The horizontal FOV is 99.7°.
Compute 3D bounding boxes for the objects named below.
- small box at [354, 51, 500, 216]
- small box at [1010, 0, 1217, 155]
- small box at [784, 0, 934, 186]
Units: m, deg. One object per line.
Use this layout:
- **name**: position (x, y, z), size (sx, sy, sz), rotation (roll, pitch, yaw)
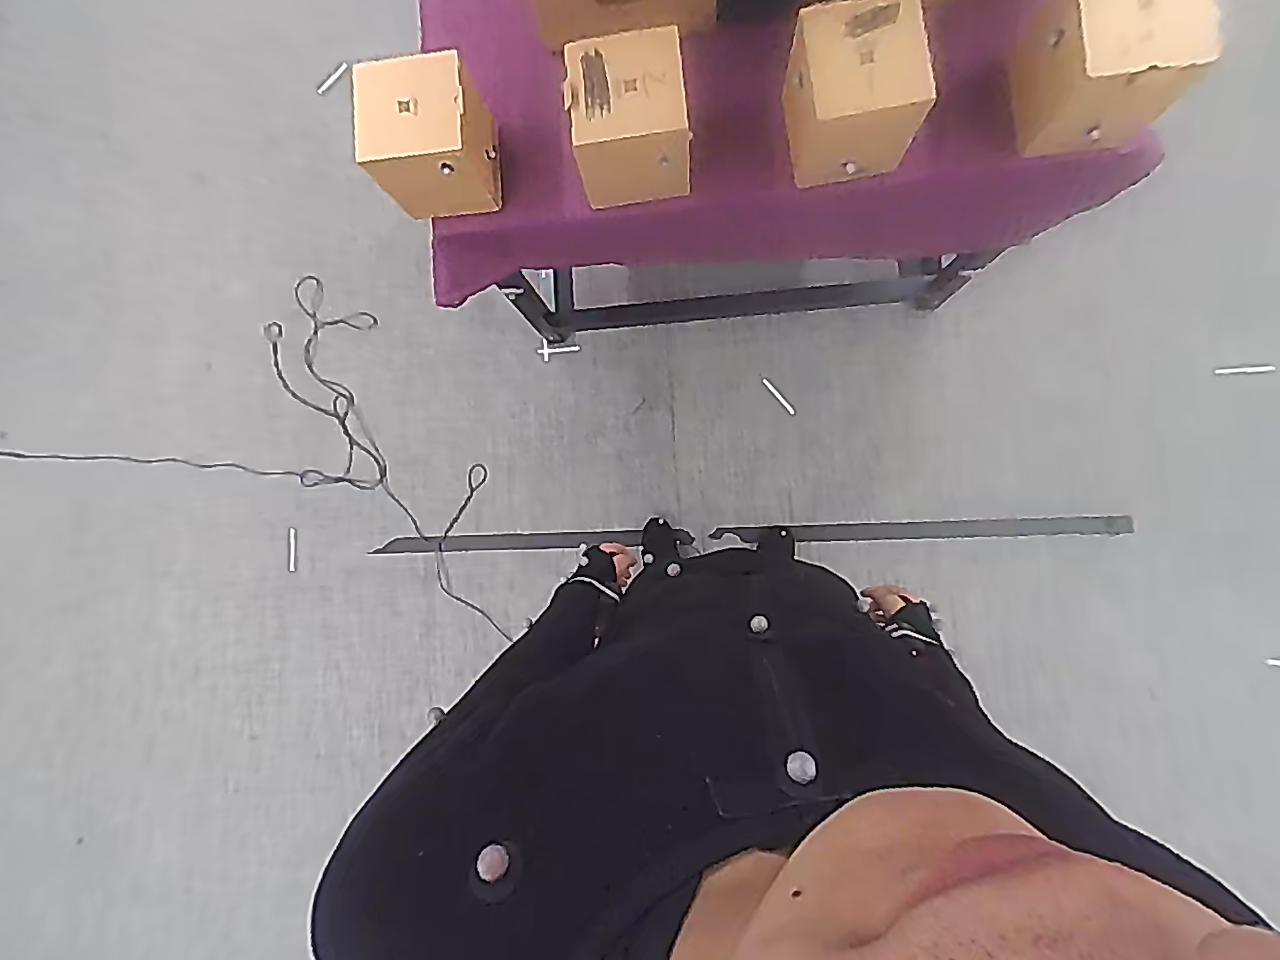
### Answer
- **small box**: position (-0.351, -0.571, 0.915), size (0.179, 0.176, 0.168), rotation (-4, 86, 4)
- **small box**: position (0.685, -0.628, 0.807), size (0.168, 0.176, 0.179), rotation (-3, 86, 7)
- **small box**: position (0.329, -0.601, 0.845), size (0.168, 0.176, 0.179), rotation (-8, 87, 6)
